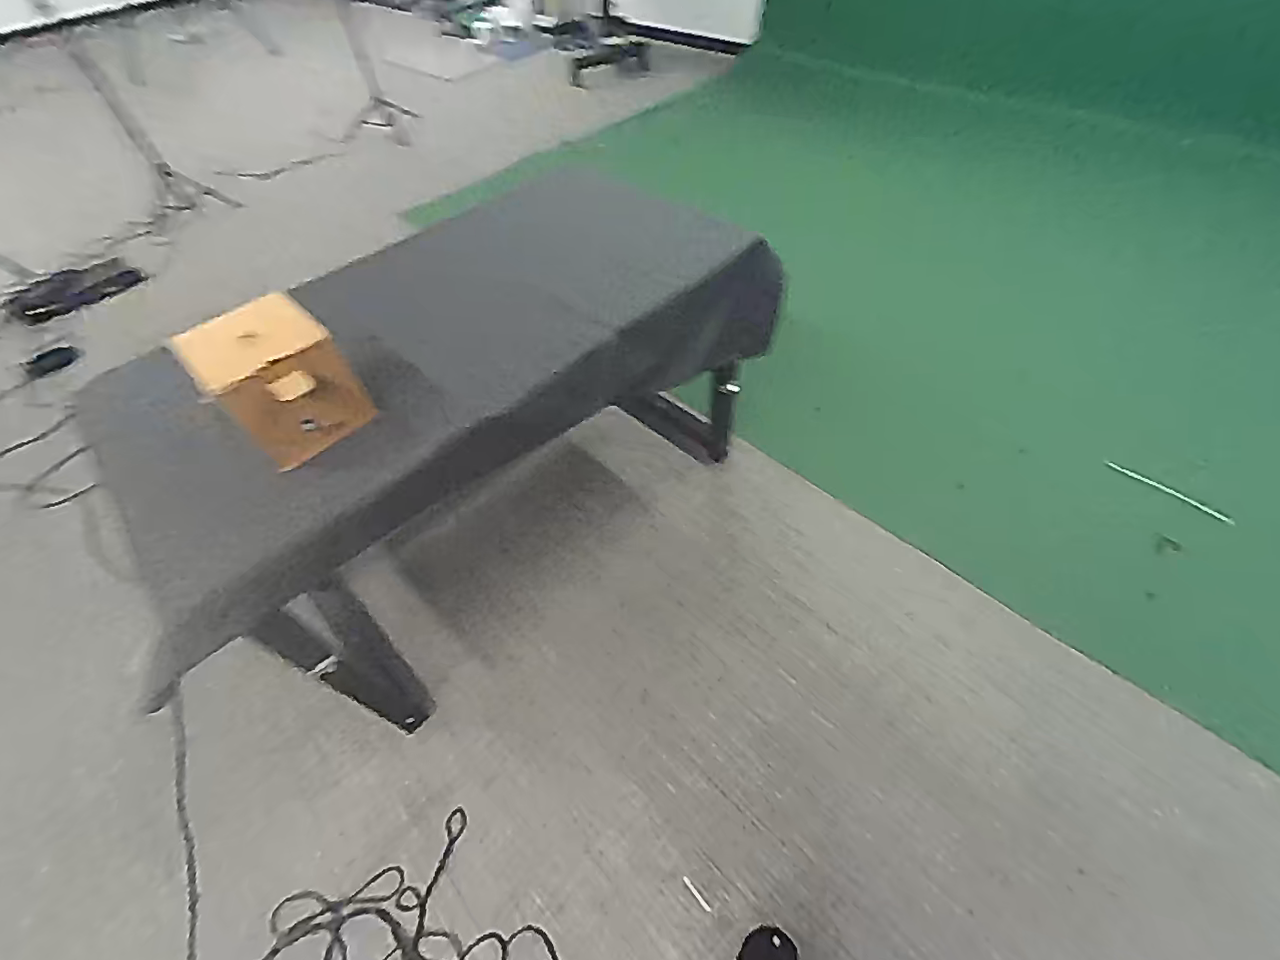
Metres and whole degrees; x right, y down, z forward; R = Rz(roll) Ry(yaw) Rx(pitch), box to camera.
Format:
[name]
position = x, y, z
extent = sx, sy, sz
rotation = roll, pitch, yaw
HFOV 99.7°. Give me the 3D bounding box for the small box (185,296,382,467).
[small box]
position = -0.544, -0.152, 0.843
extent = 0.179, 0.176, 0.168
rotation = 36, 62, 28
